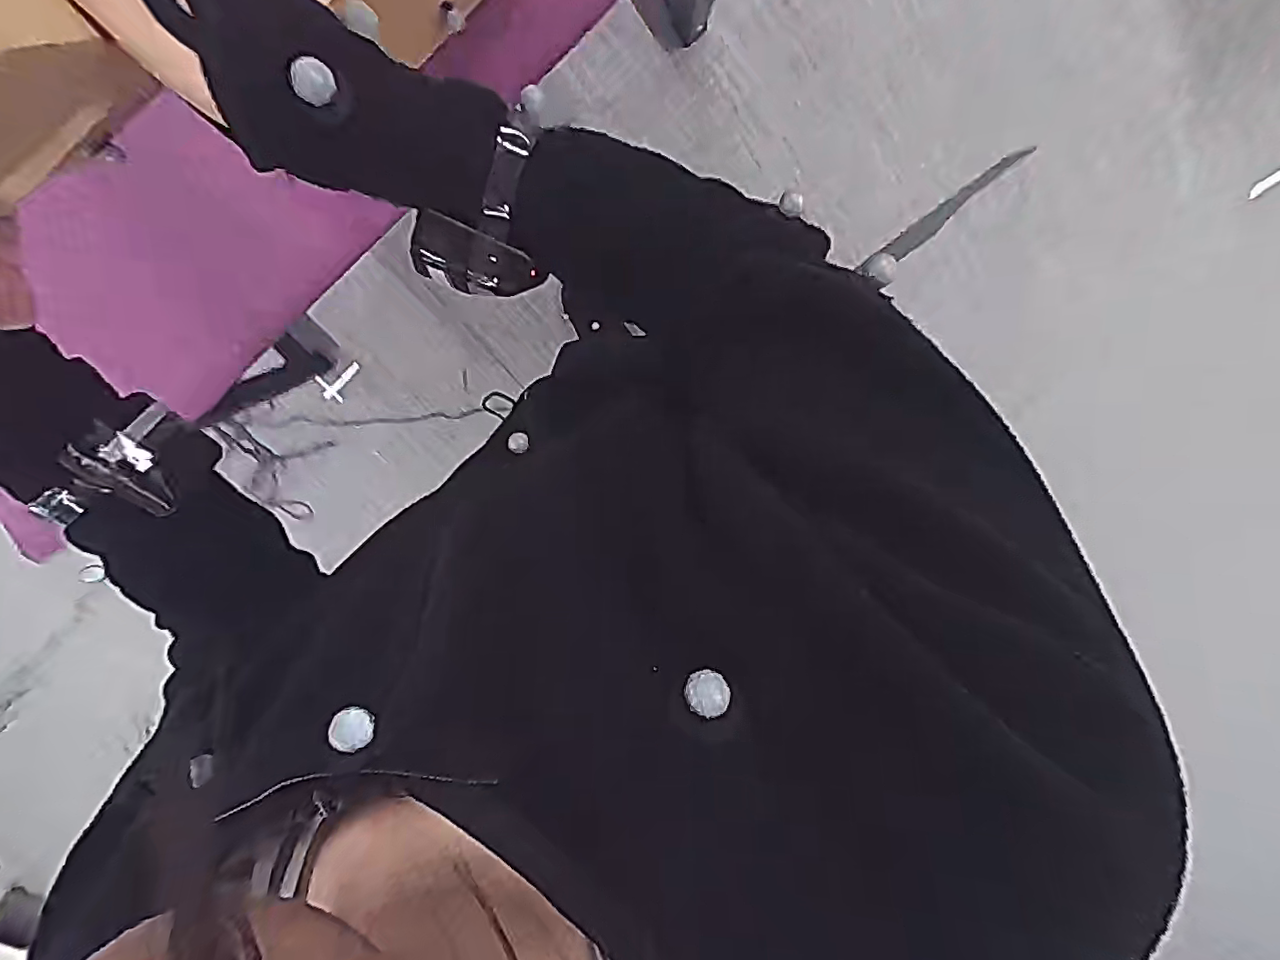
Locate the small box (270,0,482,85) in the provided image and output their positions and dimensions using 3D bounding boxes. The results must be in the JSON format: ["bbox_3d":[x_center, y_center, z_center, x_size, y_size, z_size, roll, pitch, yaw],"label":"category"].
[{"bbox_3d":[-0.216,-0.445,0.401,0.179,0.176,0.168,-35,110,15],"label":"small box"}]

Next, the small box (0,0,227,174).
[{"bbox_3d":[-0.340,-0.263,0.241,0.168,0.176,0.179,-30,131,12],"label":"small box"}]

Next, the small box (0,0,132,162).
[{"bbox_3d":[-0.294,-0.148,0.132,0.179,0.176,0.168,-28,133,11],"label":"small box"}]
